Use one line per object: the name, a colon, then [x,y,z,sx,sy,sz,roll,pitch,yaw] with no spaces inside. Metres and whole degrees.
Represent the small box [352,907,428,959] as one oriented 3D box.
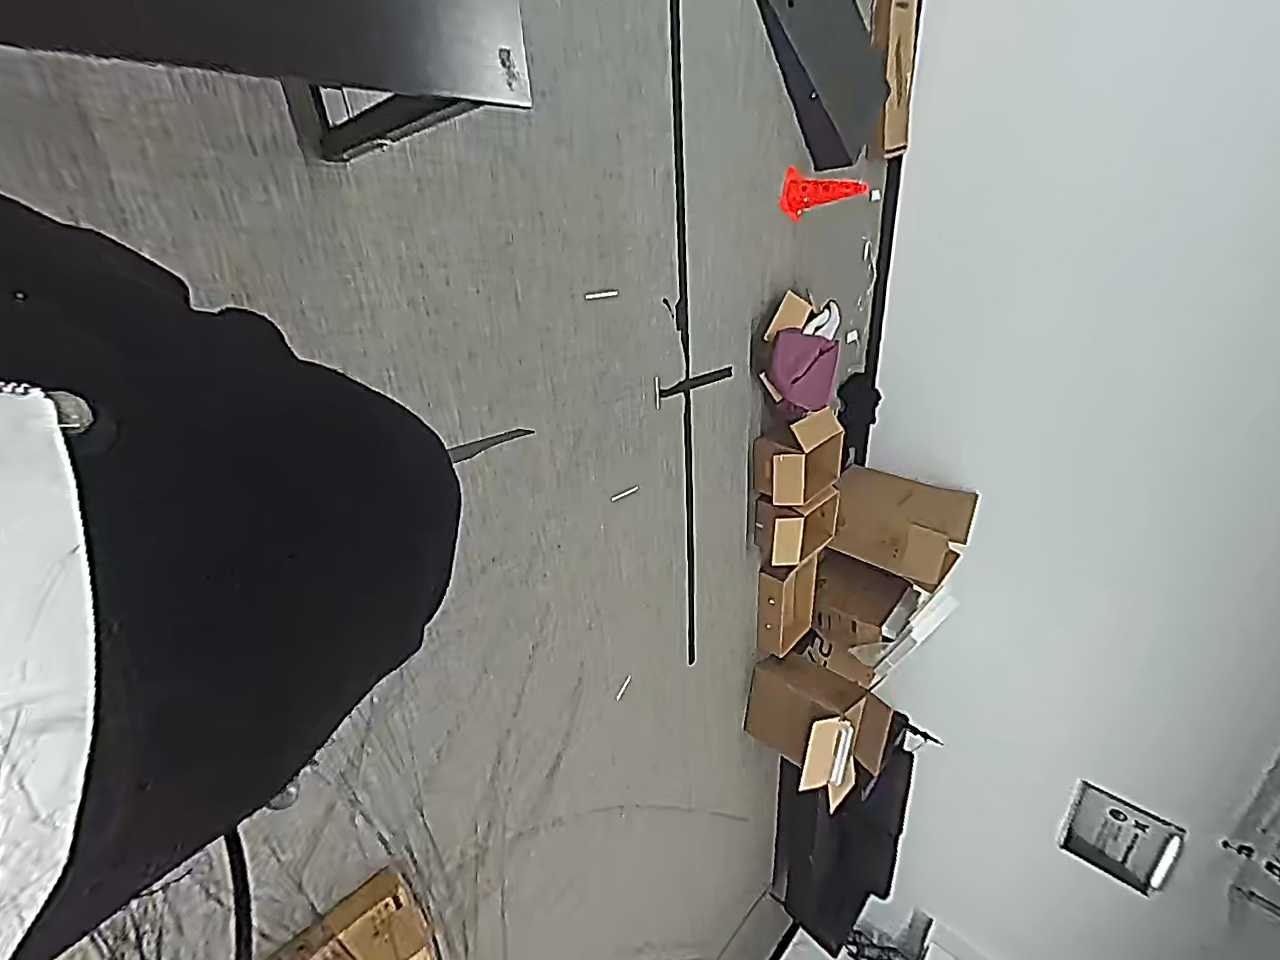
small box: [-0.806,1.555,1.759,0.168,0.176,0.179,-26,123,-40]
